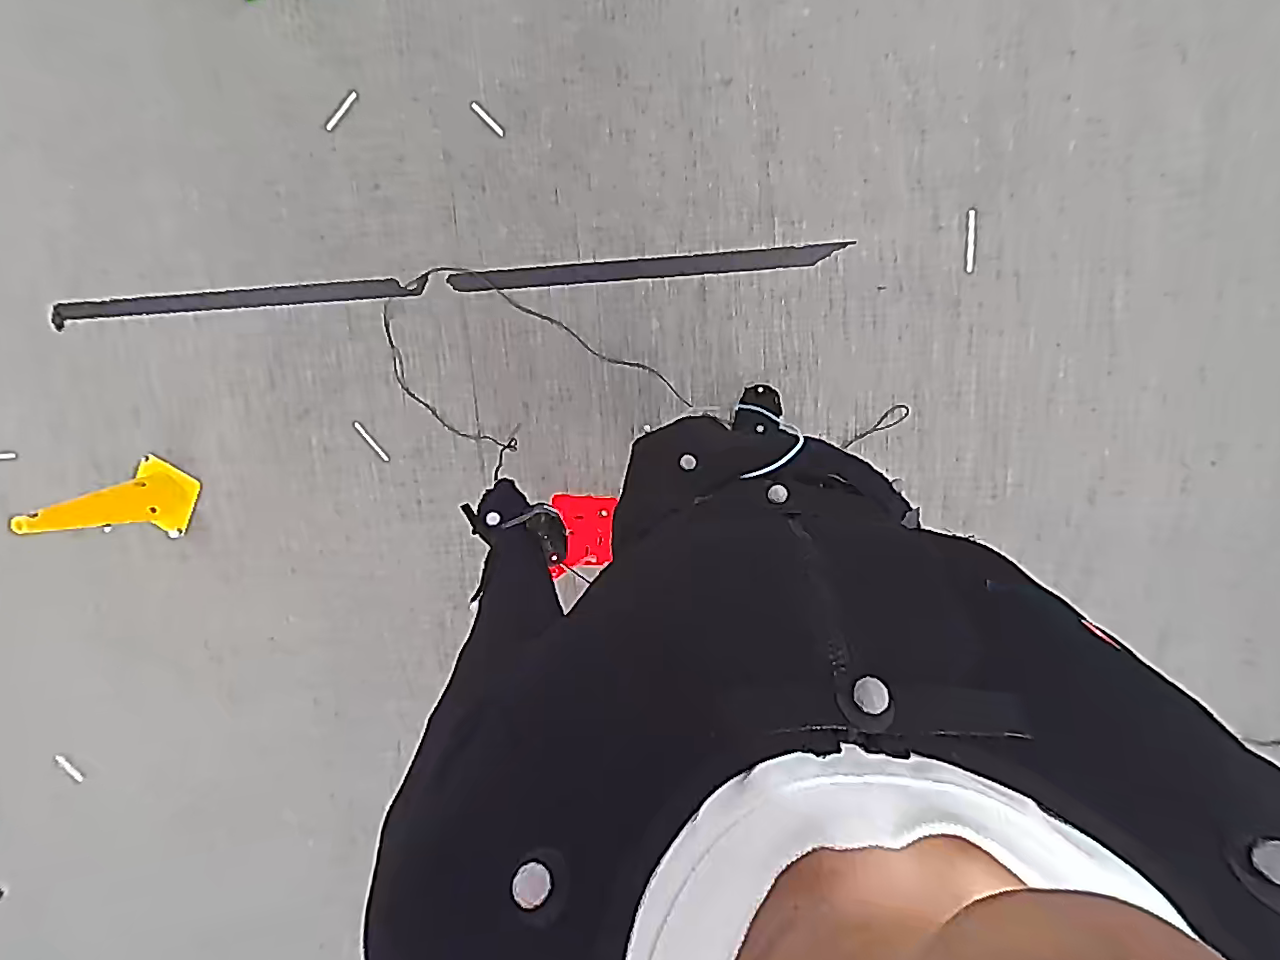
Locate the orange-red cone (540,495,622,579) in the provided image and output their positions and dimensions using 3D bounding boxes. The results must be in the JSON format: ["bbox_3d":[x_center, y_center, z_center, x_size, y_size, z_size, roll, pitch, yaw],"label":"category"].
[{"bbox_3d":[-0.175,0.170,1.321,0.199,0.360,0.198,5,99,8],"label":"orange-red cone"}]
